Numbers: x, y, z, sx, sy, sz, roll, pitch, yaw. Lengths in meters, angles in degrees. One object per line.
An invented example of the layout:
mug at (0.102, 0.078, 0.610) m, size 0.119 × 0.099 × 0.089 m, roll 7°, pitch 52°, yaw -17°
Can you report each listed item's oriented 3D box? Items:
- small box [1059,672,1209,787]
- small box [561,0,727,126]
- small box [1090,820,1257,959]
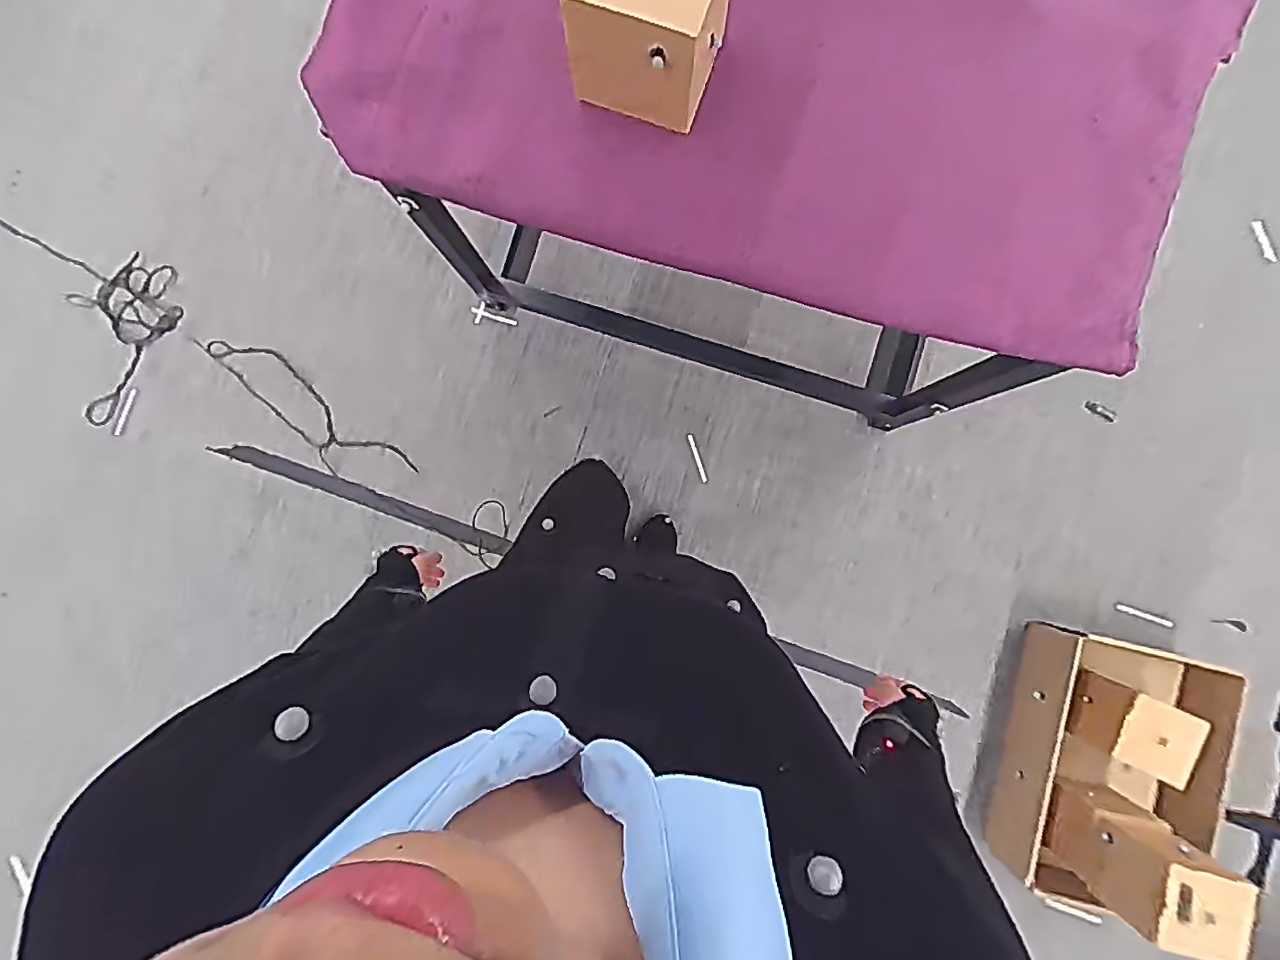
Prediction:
small box at (1.186, 0.593, 1.311) m, size 0.179 × 0.176 × 0.168 m, roll 24°, pitch 90°, yaw 2°
small box at (0.014, -0.612, 0.712) m, size 0.179 × 0.176 × 0.168 m, roll 19°, pitch 87°, yaw 2°
small box at (1.105, 0.854, 1.135) m, size 0.179 × 0.176 × 0.168 m, roll 14°, pitch 88°, yaw 1°
